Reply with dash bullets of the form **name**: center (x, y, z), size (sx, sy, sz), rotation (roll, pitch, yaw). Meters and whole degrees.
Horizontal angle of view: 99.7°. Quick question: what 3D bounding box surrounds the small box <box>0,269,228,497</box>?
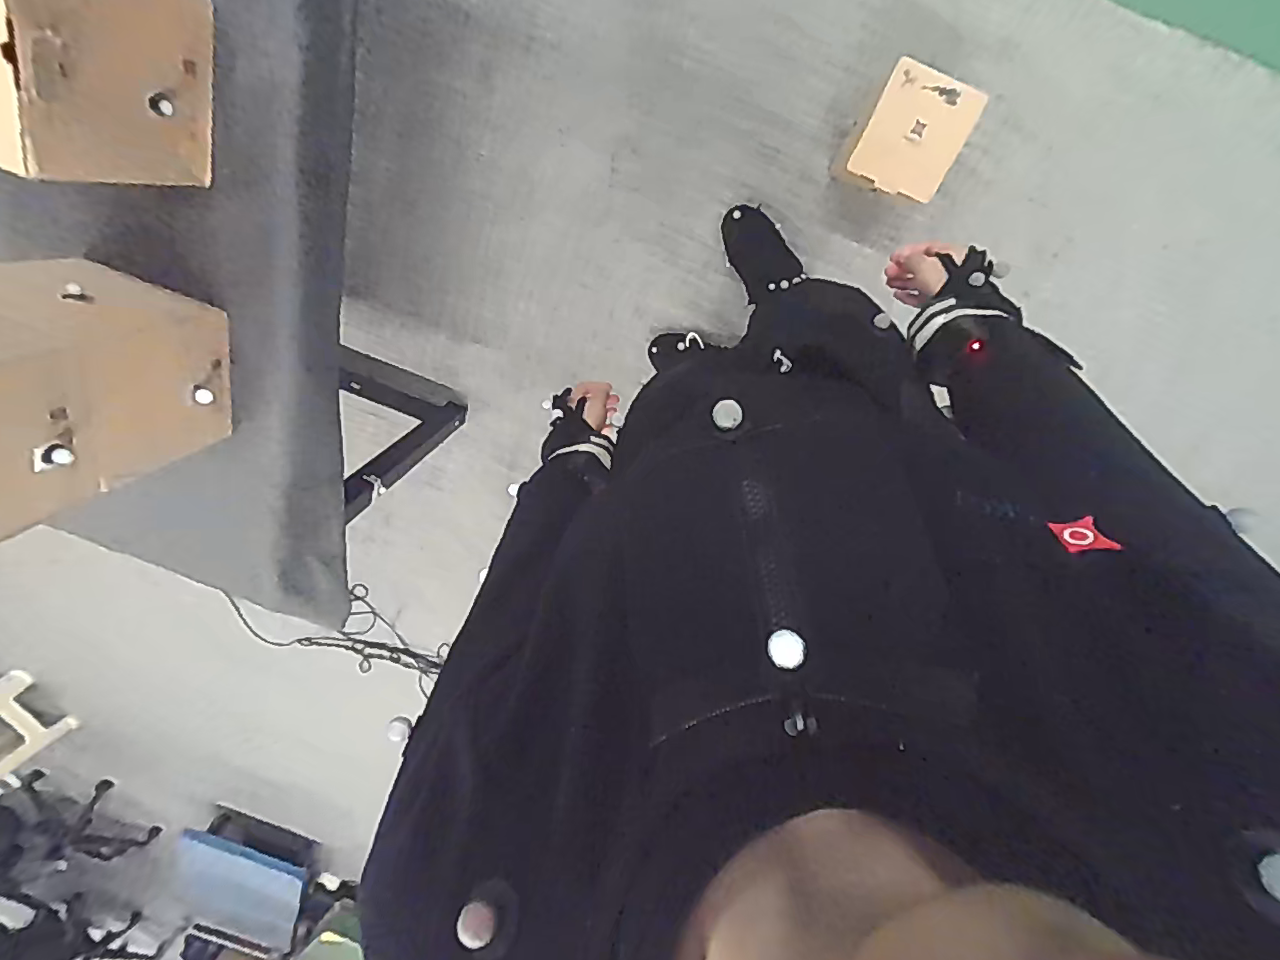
- **small box**: center (-0.586, -0.112, 0.573), size (0.179, 0.176, 0.168), rotation (20, 118, -2)

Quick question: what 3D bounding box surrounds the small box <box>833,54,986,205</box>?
- **small box**: center (0.473, -0.624, 0.985), size (0.168, 0.176, 0.179), rotation (22, 119, -3)

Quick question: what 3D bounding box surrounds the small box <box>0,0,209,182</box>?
- **small box**: center (-0.504, -0.360, 0.439), size (0.179, 0.176, 0.168), rotation (23, 117, -4)
